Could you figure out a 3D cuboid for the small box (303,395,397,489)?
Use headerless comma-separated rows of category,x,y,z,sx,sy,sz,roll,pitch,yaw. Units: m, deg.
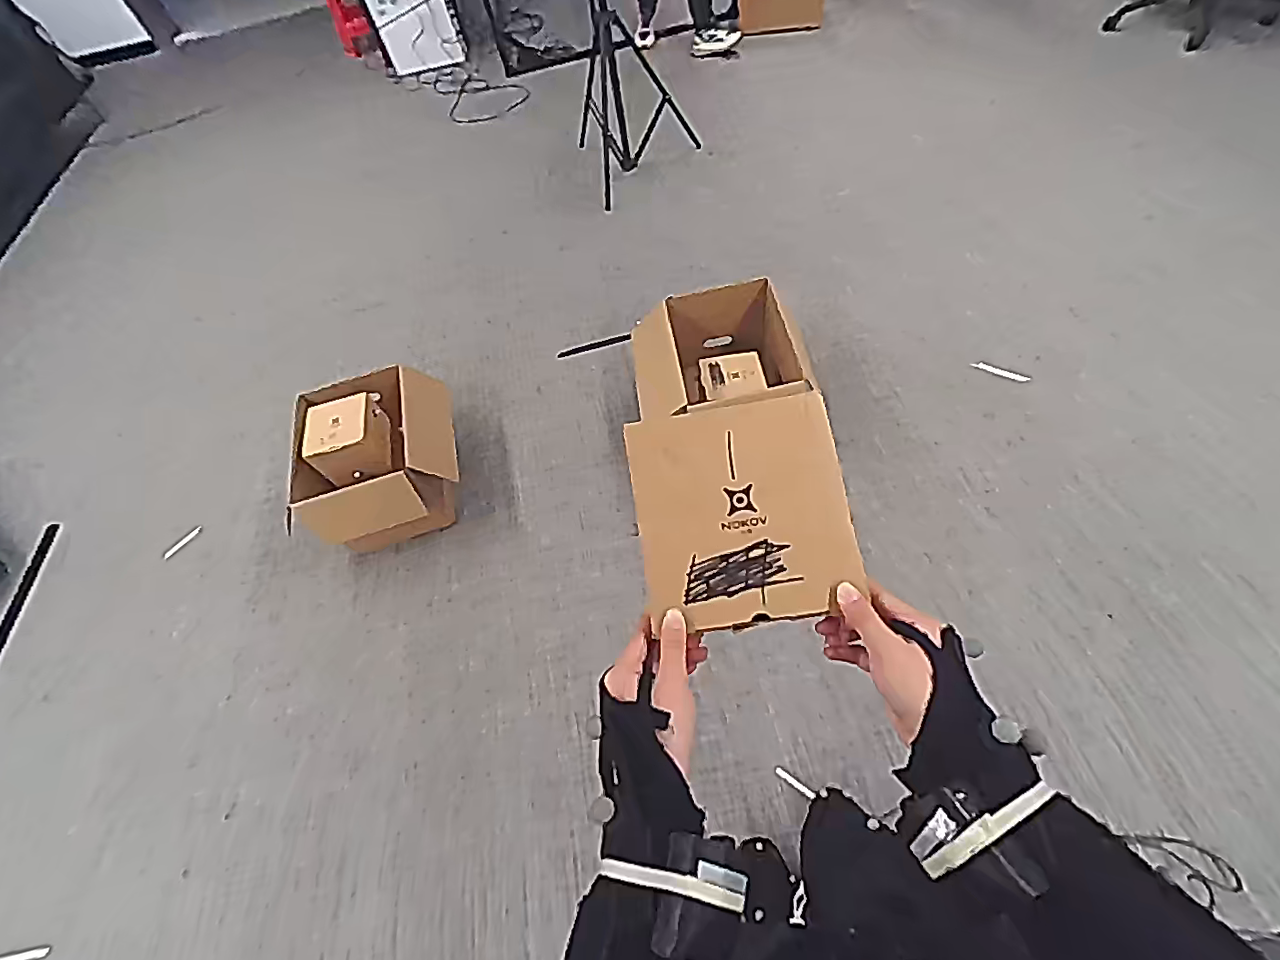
small box,-0.795,-0.102,1.503,0.168,0.176,0.179,-16,58,0

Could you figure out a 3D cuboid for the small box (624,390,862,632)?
small box,0.086,0.038,0.505,0.168,0.176,0.179,-9,76,4
